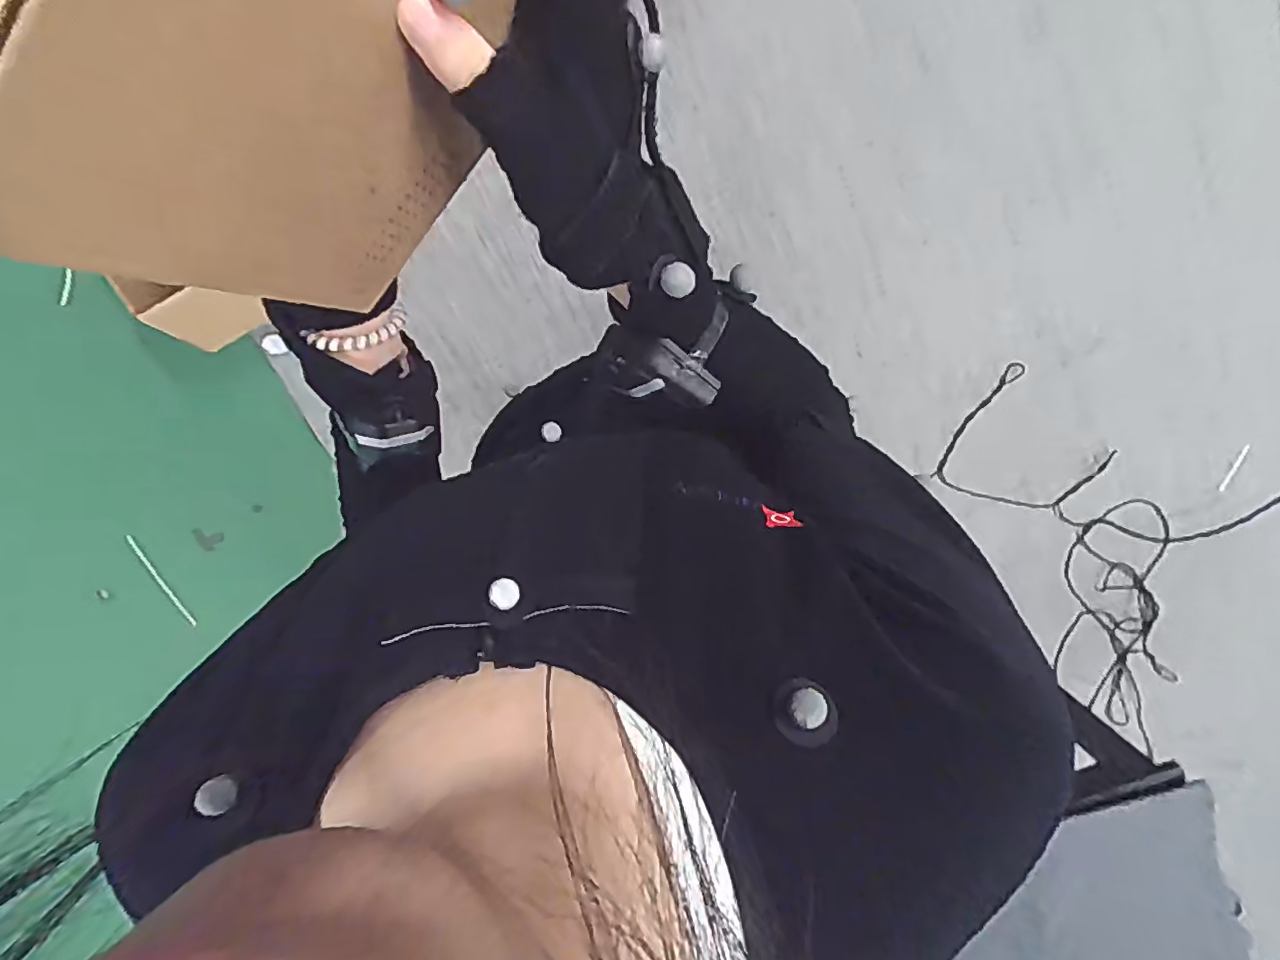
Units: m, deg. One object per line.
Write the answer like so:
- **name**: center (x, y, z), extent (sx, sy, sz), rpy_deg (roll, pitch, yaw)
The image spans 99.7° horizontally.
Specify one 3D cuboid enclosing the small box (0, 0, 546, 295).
- **small box**: center (-0.152, -0.190, 0.182), extent (0.168, 0.176, 0.179), rpy_deg (43, 104, -3)
